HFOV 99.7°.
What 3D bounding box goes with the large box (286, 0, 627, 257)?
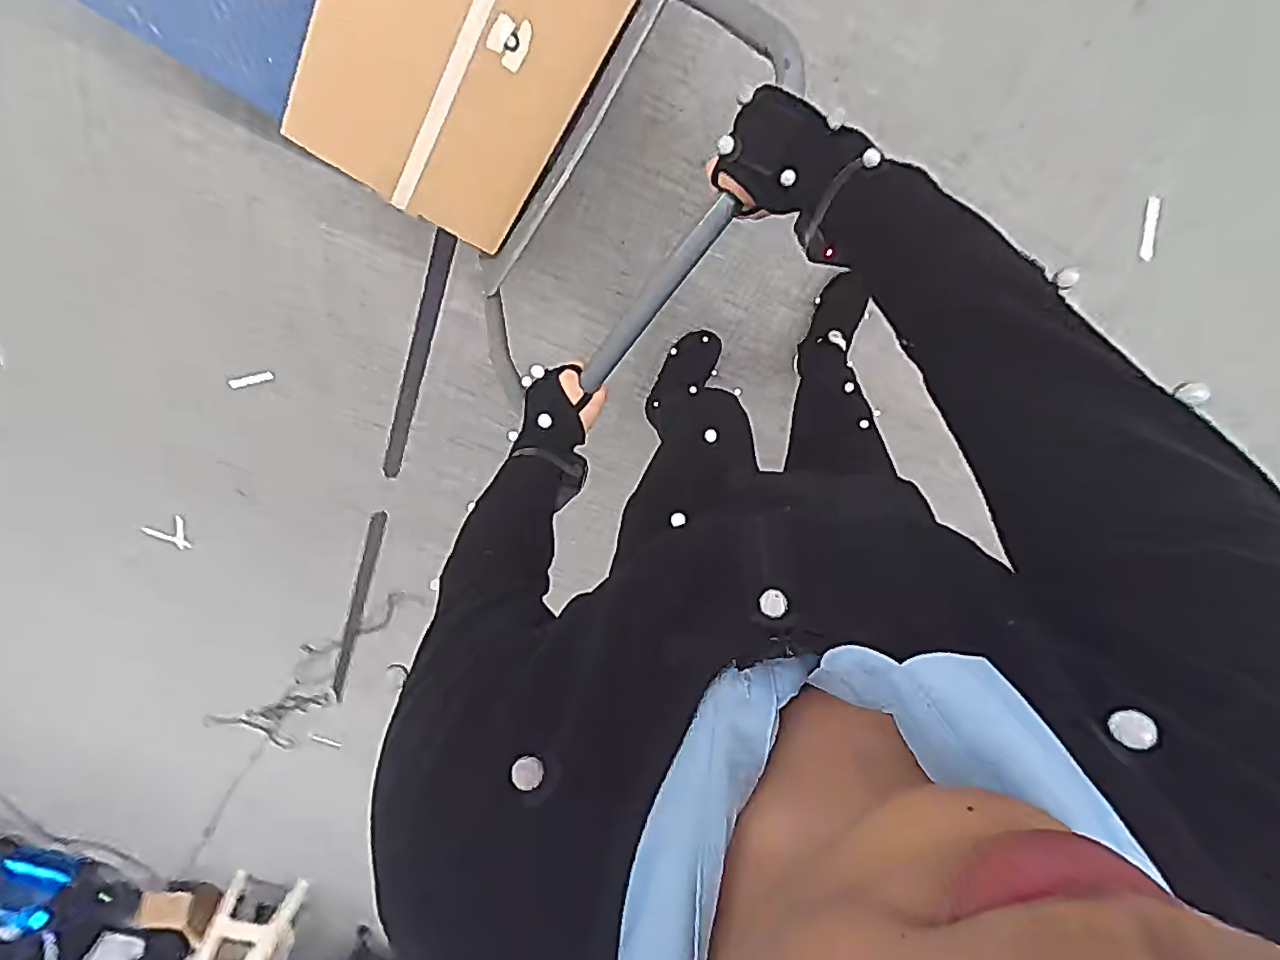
[{"bbox_3d":[-0.274,-0.637,0.810,0.320,0.320,0.408,20,126,-33],"label":"large box"}]
